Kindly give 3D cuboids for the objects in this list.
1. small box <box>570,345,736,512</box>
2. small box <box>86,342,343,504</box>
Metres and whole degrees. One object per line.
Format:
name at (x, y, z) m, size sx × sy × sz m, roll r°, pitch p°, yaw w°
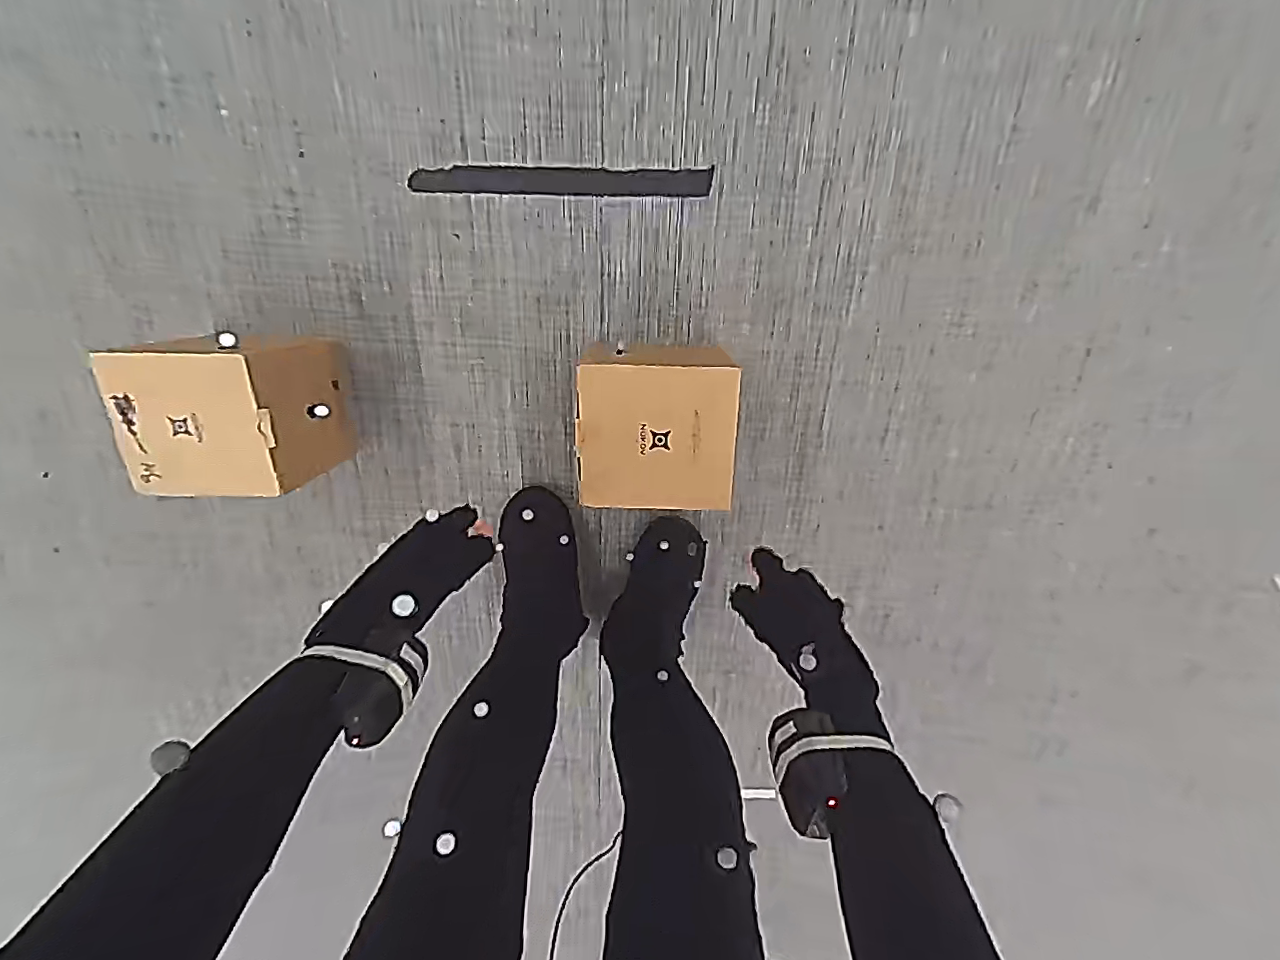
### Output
small box at (0.014, -0.070, 0.665) m, size 0.179 × 0.176 × 0.168 m, roll 0°, pitch 112°, yaw 0°
small box at (-0.499, -0.078, 0.673) m, size 0.179 × 0.176 × 0.168 m, roll 1°, pitch 111°, yaw 1°
